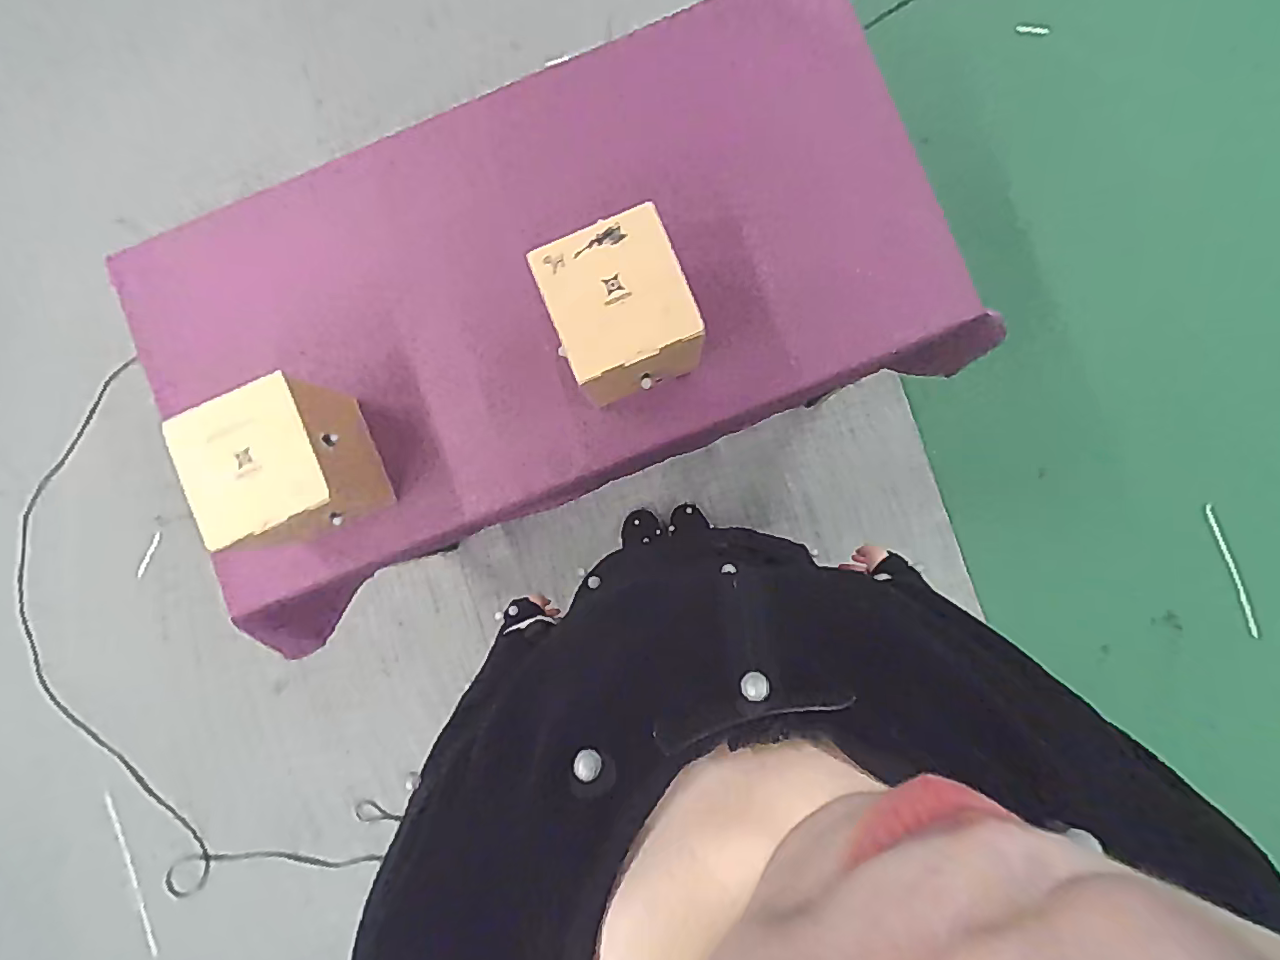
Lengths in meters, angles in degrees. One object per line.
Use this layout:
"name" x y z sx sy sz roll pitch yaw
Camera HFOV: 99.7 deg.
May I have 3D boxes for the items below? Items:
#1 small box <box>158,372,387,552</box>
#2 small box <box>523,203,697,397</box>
"small box" -0.479 -0.020 0.734 0.168 0.176 0.179 -23 86 0
"small box" -0.033 -0.221 0.725 0.168 0.176 0.179 -22 88 1
